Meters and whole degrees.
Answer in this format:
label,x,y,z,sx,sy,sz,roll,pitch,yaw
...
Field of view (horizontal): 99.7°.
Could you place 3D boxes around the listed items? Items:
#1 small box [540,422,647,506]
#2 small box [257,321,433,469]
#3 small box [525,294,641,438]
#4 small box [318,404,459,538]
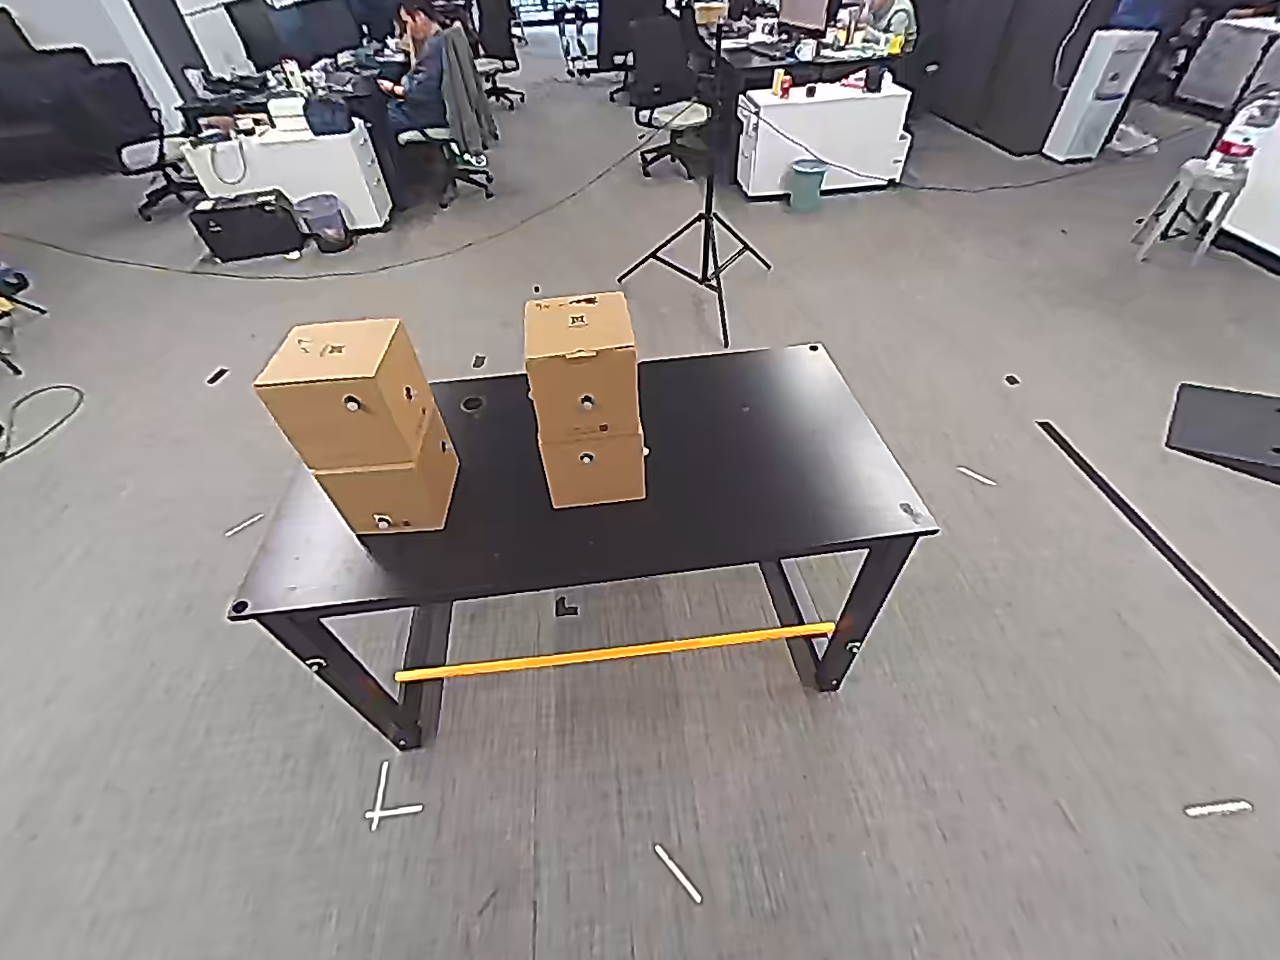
label,x,y,z,sx,sy,sz,roll,pitch,yaw
small box,-0.085,-0.067,1.014,0.179,0.176,0.168,-6,46,-3
small box,-0.456,-0.135,0.874,0.179,0.176,0.168,-5,46,0
small box,-0.091,-0.183,0.898,0.168,0.176,0.179,-7,47,-3
small box,-0.443,-0.017,0.989,0.168,0.176,0.179,-5,47,0
